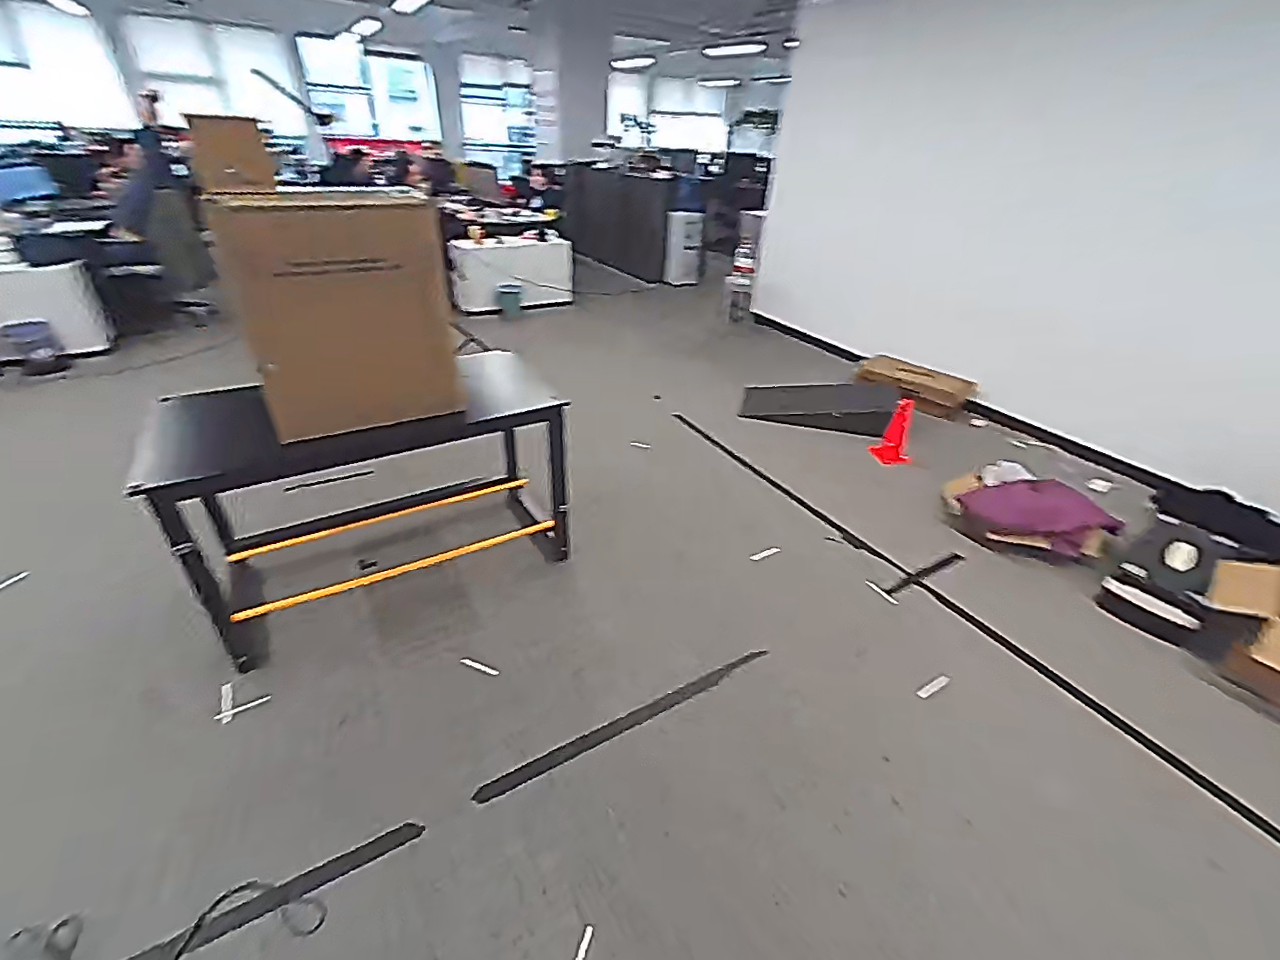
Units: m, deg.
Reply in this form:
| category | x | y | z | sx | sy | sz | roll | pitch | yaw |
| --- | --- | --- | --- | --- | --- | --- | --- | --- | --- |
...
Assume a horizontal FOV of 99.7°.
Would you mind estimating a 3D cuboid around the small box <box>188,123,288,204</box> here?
| category | x | y | z | sx | sy | sz | roll | pitch | yaw |
| --- | --- | --- | --- | --- | --- | --- | --- | --- | --- |
| small box | -1.034 | -0.815 | 1.395 | 0.168 | 0.176 | 0.179 | -19 | 38 | -30 |
